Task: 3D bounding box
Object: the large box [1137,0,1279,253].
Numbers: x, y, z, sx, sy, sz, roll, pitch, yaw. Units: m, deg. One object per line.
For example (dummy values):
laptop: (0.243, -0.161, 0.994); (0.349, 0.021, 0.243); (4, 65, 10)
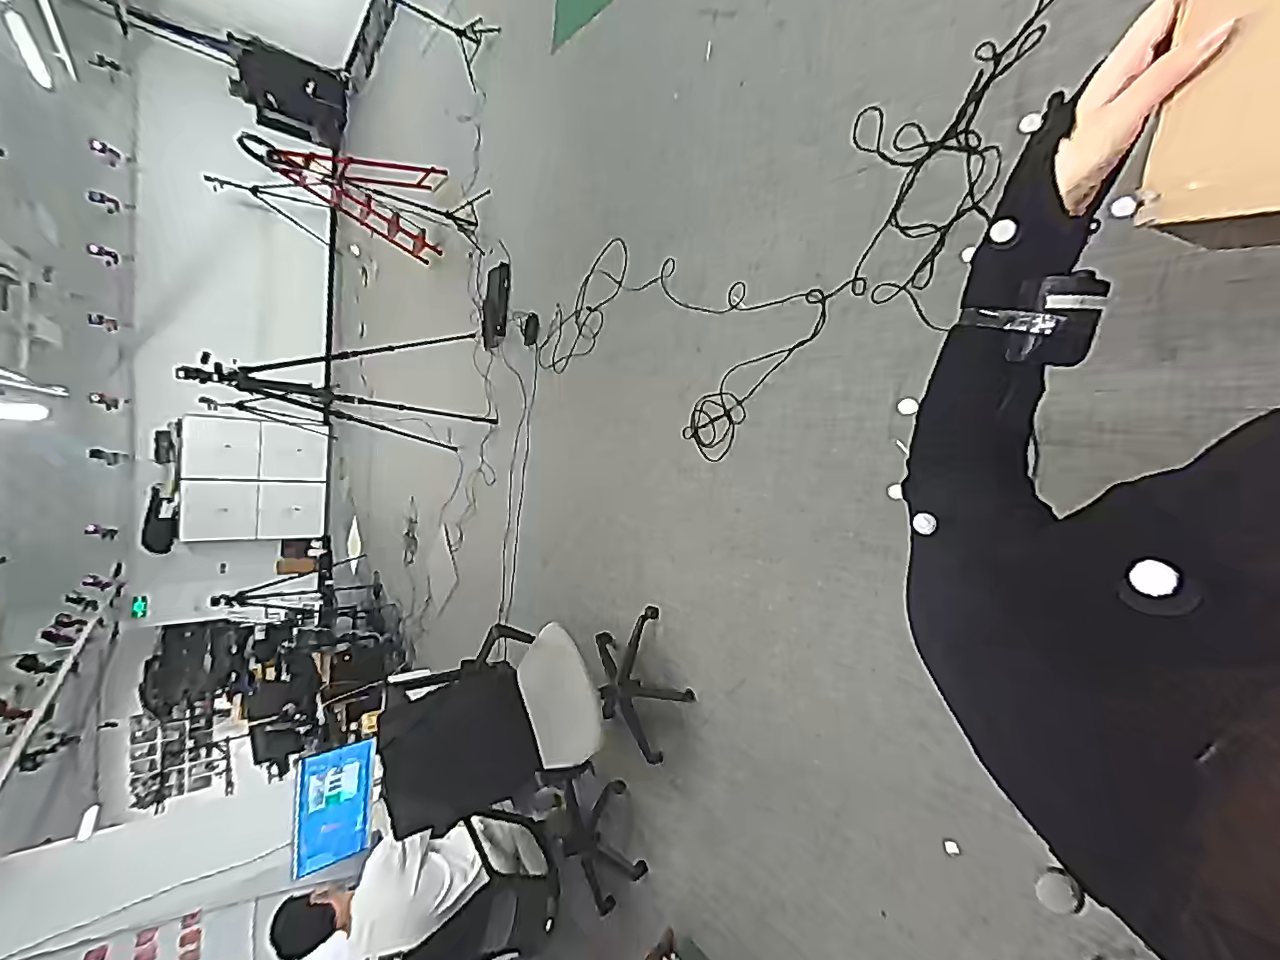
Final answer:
large box: (0.574, -0.302, 0.263); (0.408, 0.320, 0.320); (19, 116, 50)
